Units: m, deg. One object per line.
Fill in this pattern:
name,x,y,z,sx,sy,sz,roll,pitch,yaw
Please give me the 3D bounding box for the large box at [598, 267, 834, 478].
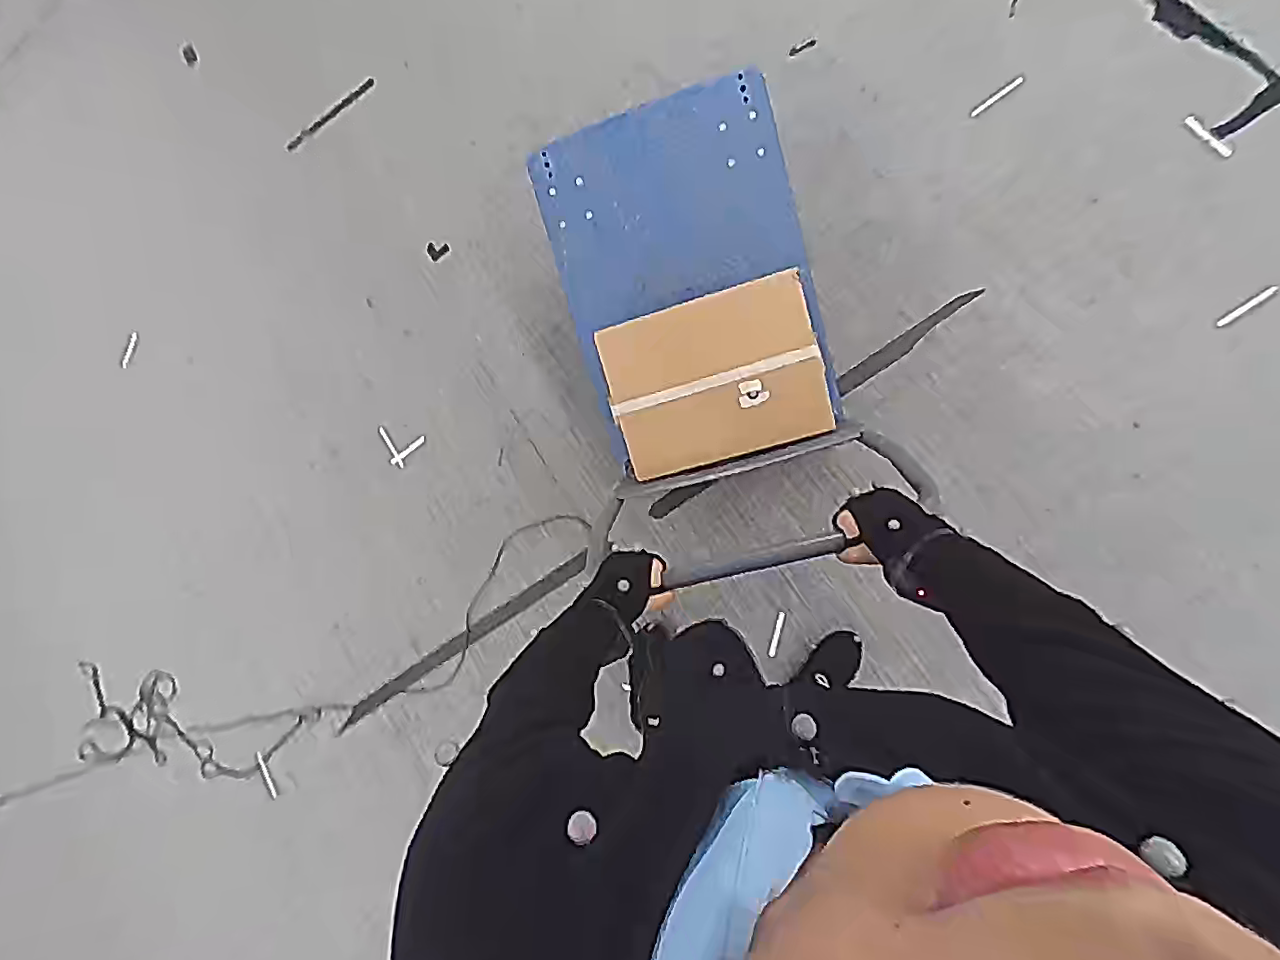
large box,0.163,-0.226,1.210,0.408,0.320,0.320,-16,99,9
